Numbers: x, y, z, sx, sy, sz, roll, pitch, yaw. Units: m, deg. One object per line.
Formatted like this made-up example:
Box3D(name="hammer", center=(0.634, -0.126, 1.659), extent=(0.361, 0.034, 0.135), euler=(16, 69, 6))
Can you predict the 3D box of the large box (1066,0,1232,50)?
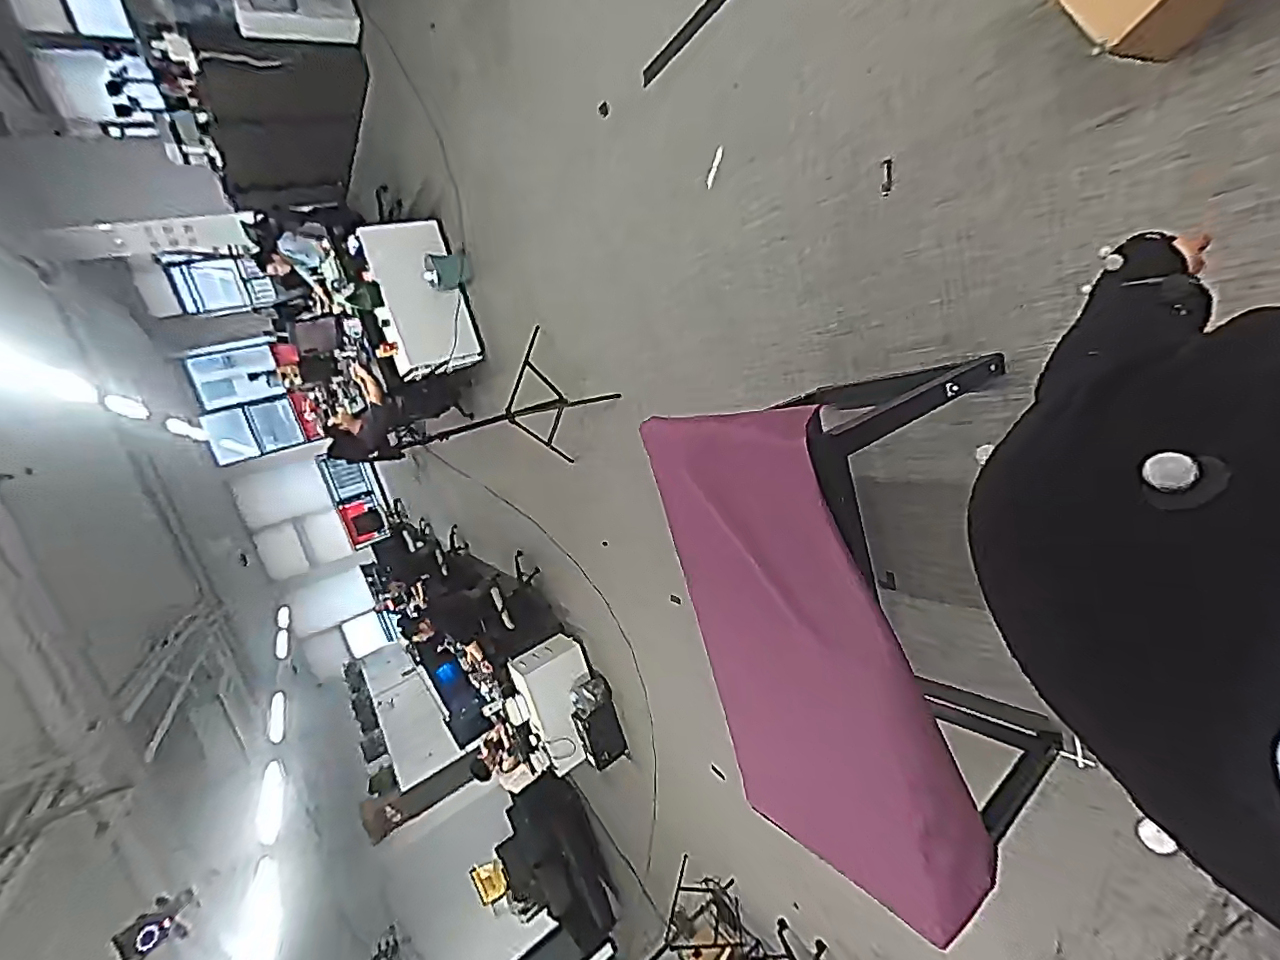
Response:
Box3D(name="large box", center=(0.836, -0.922, 0.761), extent=(0.320, 0.320, 0.408), euler=(61, 151, 12))
